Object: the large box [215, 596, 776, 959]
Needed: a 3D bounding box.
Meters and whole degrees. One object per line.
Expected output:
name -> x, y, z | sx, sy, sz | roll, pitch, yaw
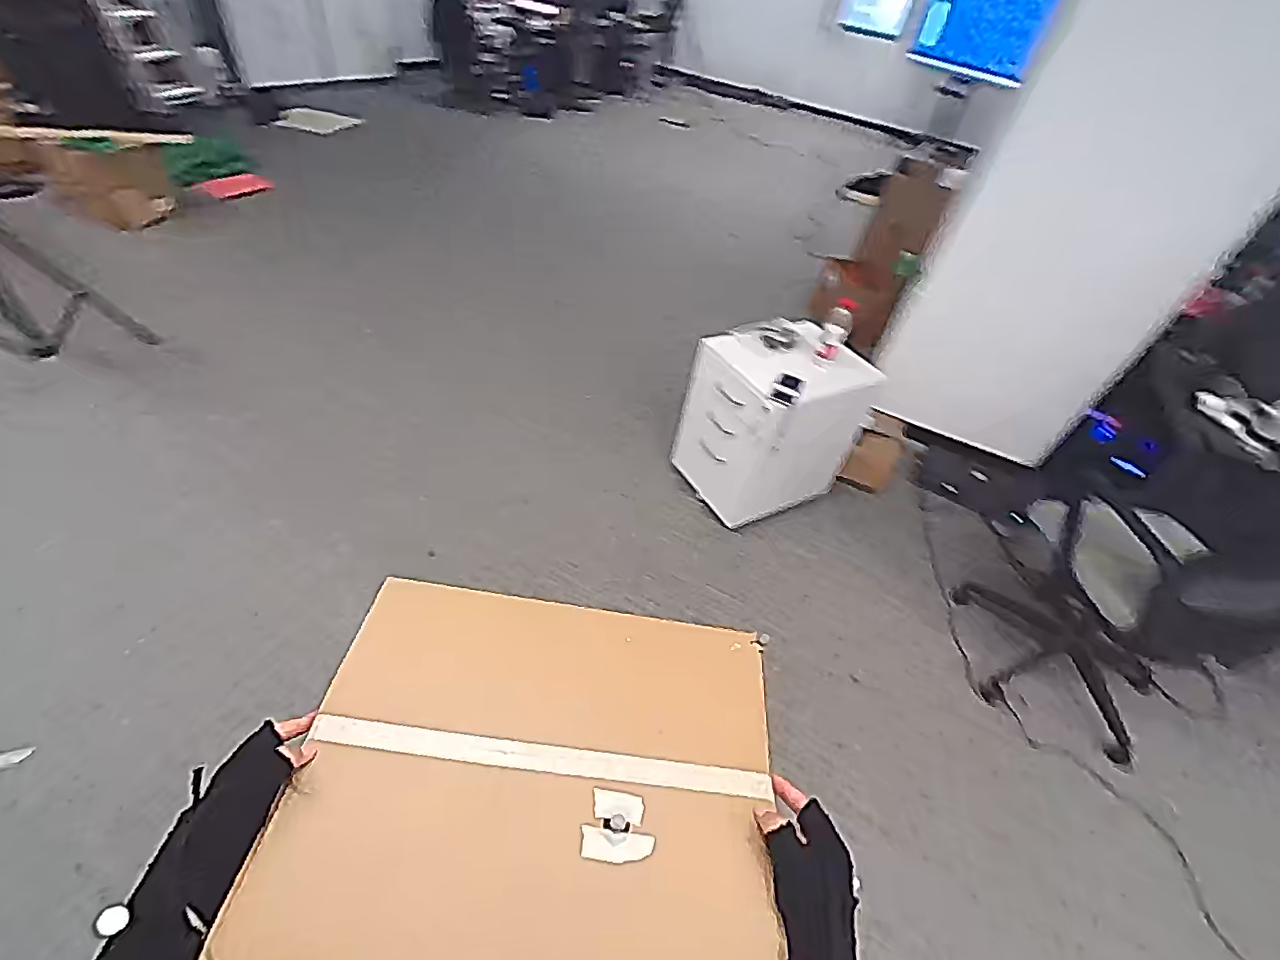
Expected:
large box -> -0.112, 0.361, 0.582 | 0.408, 0.320, 0.320 | 9, 45, -4
